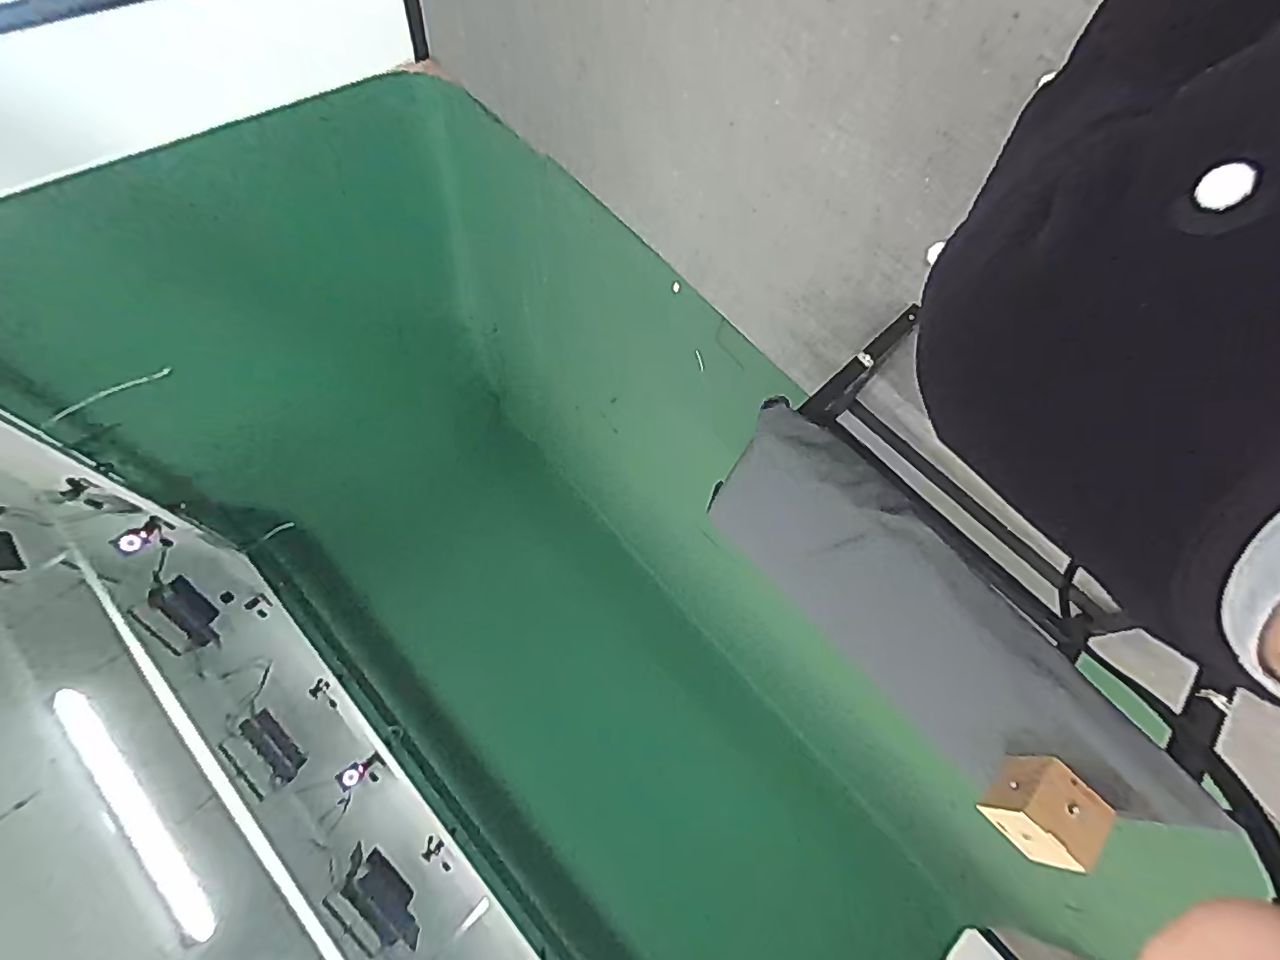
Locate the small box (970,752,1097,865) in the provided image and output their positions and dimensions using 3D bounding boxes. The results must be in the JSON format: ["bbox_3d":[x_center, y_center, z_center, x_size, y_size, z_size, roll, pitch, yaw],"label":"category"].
[{"bbox_3d":[0.975,0.799,1.336,0.168,0.176,0.179,45,155,14],"label":"small box"}]
